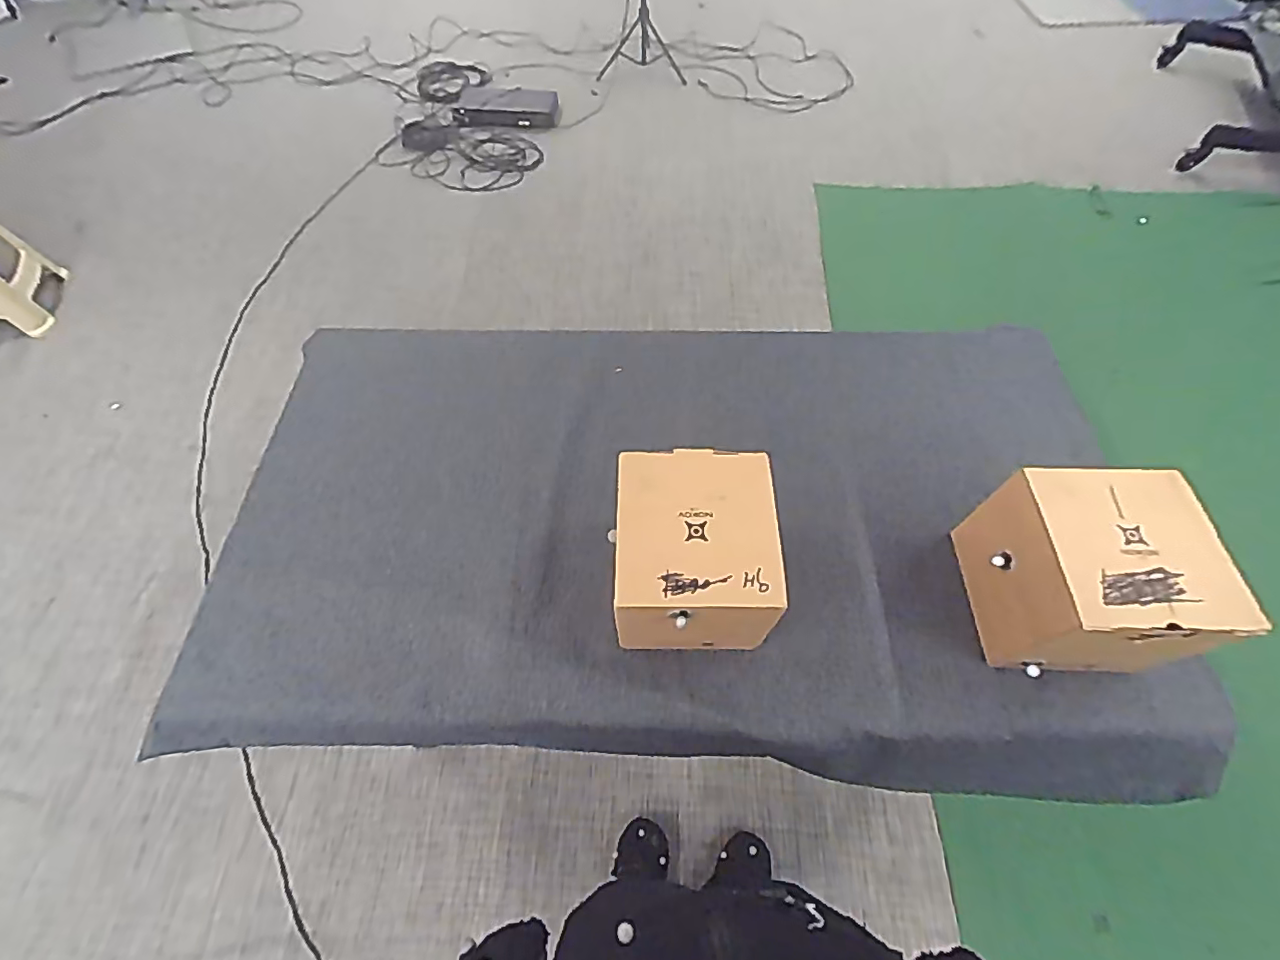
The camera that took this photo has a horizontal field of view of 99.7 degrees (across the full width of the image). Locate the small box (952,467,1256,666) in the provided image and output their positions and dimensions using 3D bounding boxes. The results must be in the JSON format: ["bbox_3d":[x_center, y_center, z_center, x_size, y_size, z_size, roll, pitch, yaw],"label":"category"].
[{"bbox_3d":[0.486,0.103,0.606,0.168,0.176,0.179,1,58,2],"label":"small box"}]

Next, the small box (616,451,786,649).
[{"bbox_3d":[0.060,0.084,0.626,0.168,0.176,0.179,0,59,1],"label":"small box"}]
